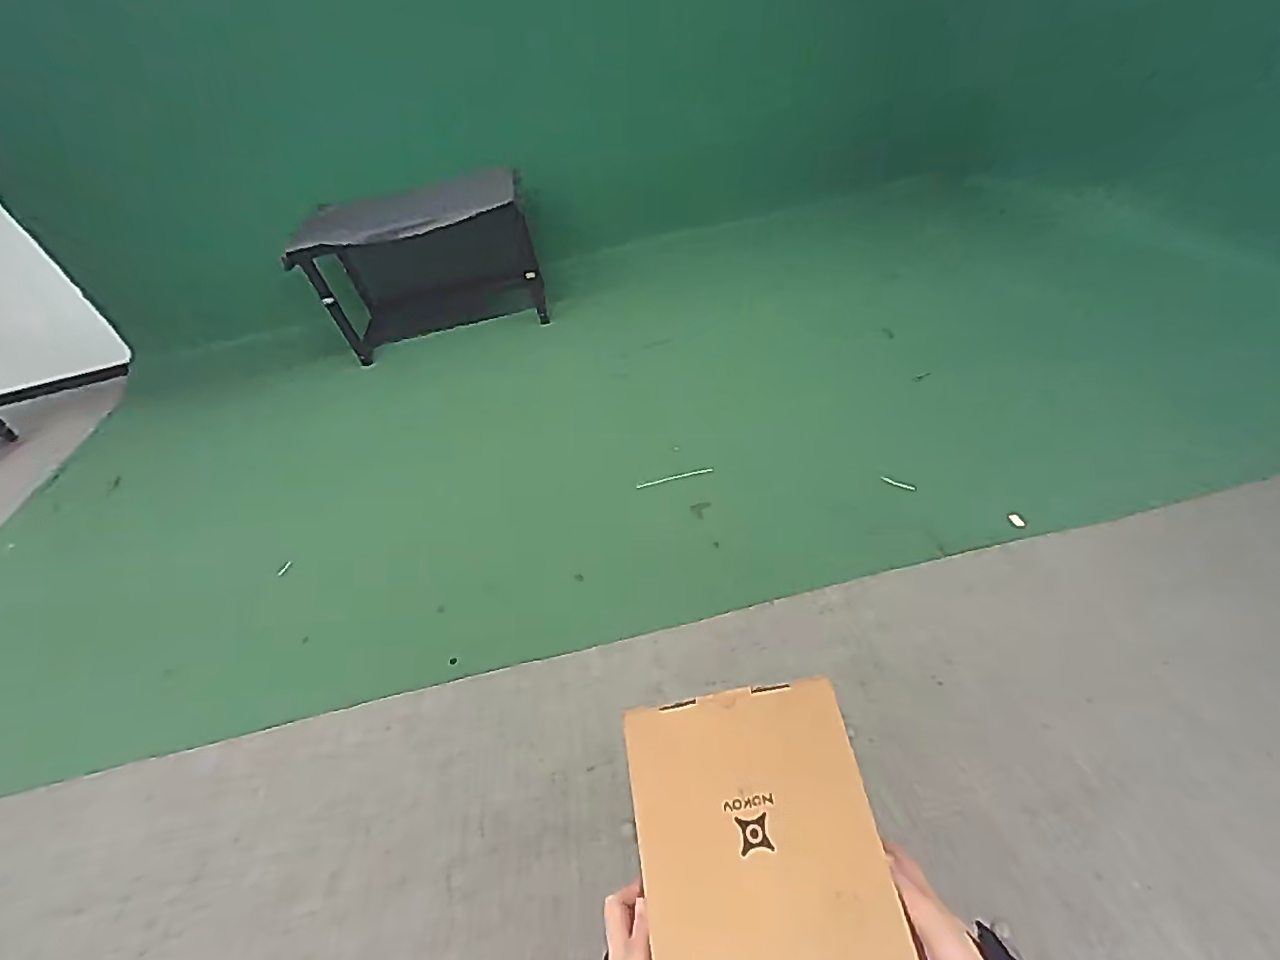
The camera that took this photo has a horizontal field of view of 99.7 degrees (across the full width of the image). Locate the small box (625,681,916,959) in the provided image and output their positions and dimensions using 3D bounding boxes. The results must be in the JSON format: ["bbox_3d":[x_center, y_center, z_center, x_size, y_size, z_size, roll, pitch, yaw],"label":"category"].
[{"bbox_3d":[0.090,0.282,0.444,0.168,0.176,0.179,-11,58,2],"label":"small box"}]
